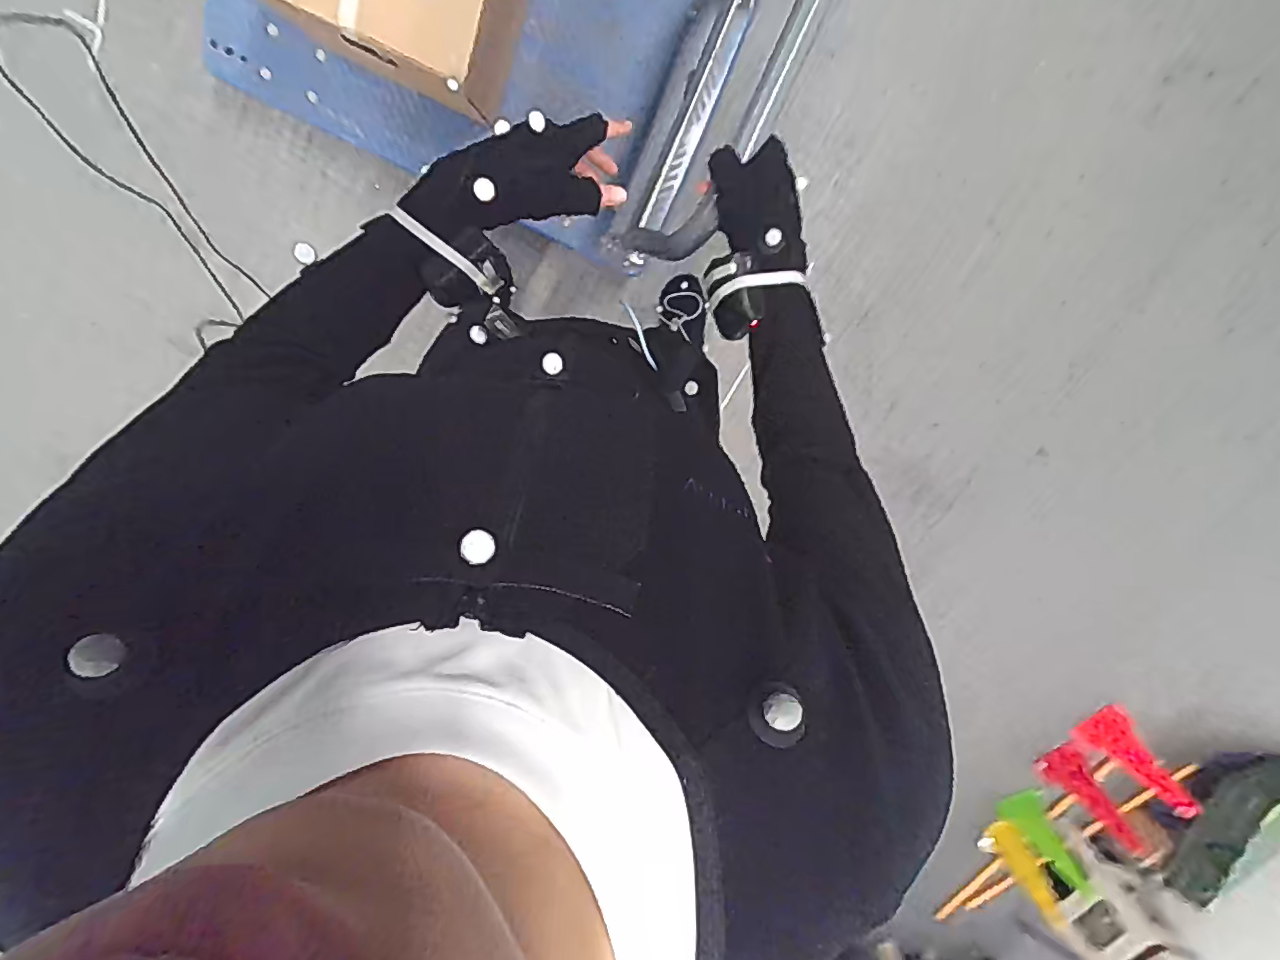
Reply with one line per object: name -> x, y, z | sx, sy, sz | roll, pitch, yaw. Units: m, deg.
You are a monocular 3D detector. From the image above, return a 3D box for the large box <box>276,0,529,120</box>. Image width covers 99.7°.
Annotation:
large box -> -0.323, -0.843, 0.799 | 0.320, 0.320, 0.408 | 20, 111, -13
